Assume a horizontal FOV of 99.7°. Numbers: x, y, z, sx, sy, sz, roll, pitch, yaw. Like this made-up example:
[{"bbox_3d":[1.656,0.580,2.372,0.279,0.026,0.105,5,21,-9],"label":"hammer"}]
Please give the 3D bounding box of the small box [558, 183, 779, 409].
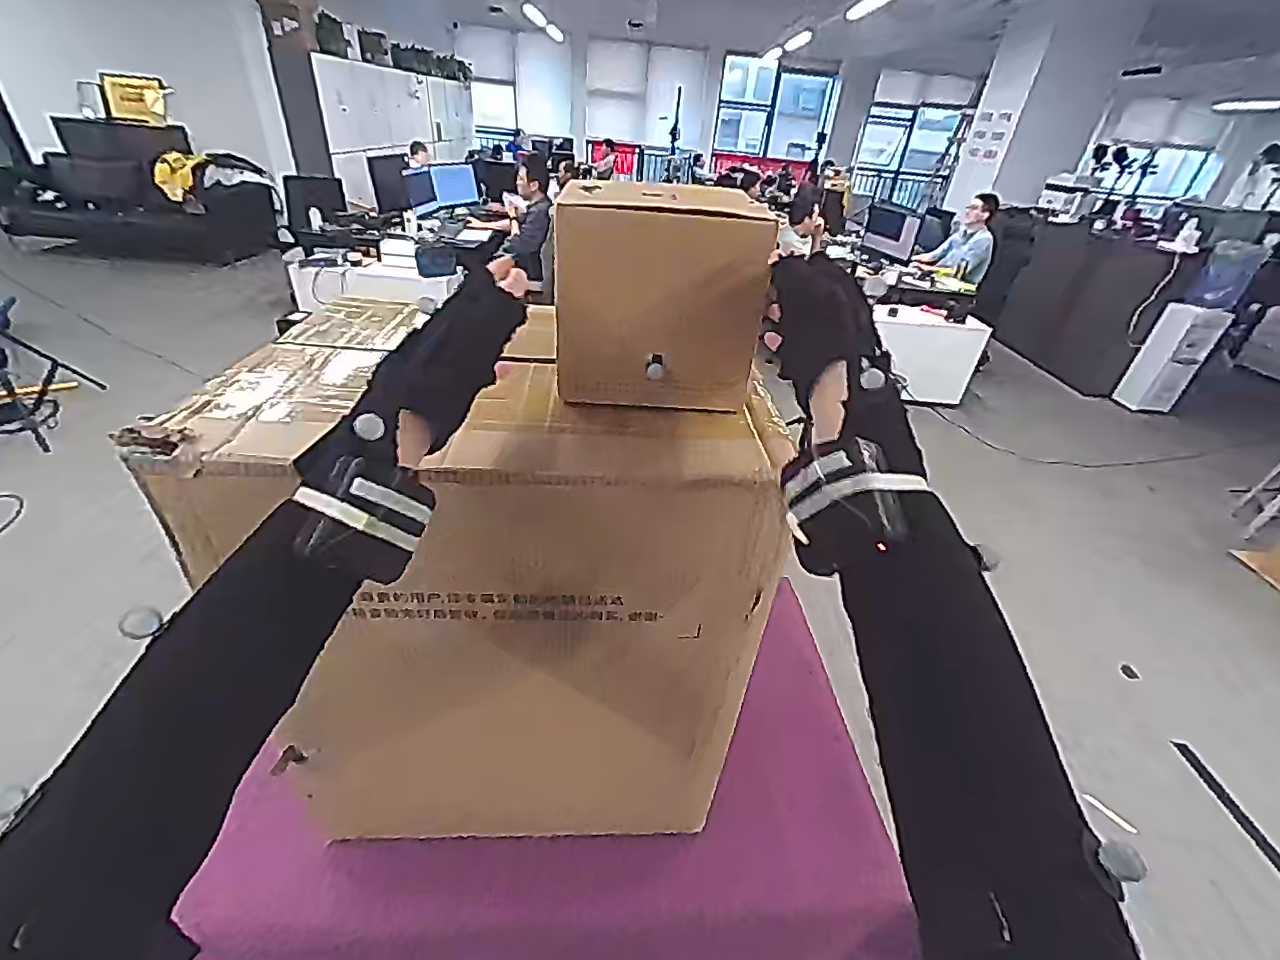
[{"bbox_3d":[0.015,-0.180,0.528,0.179,0.176,0.168,3,33,-4],"label":"small box"}]
